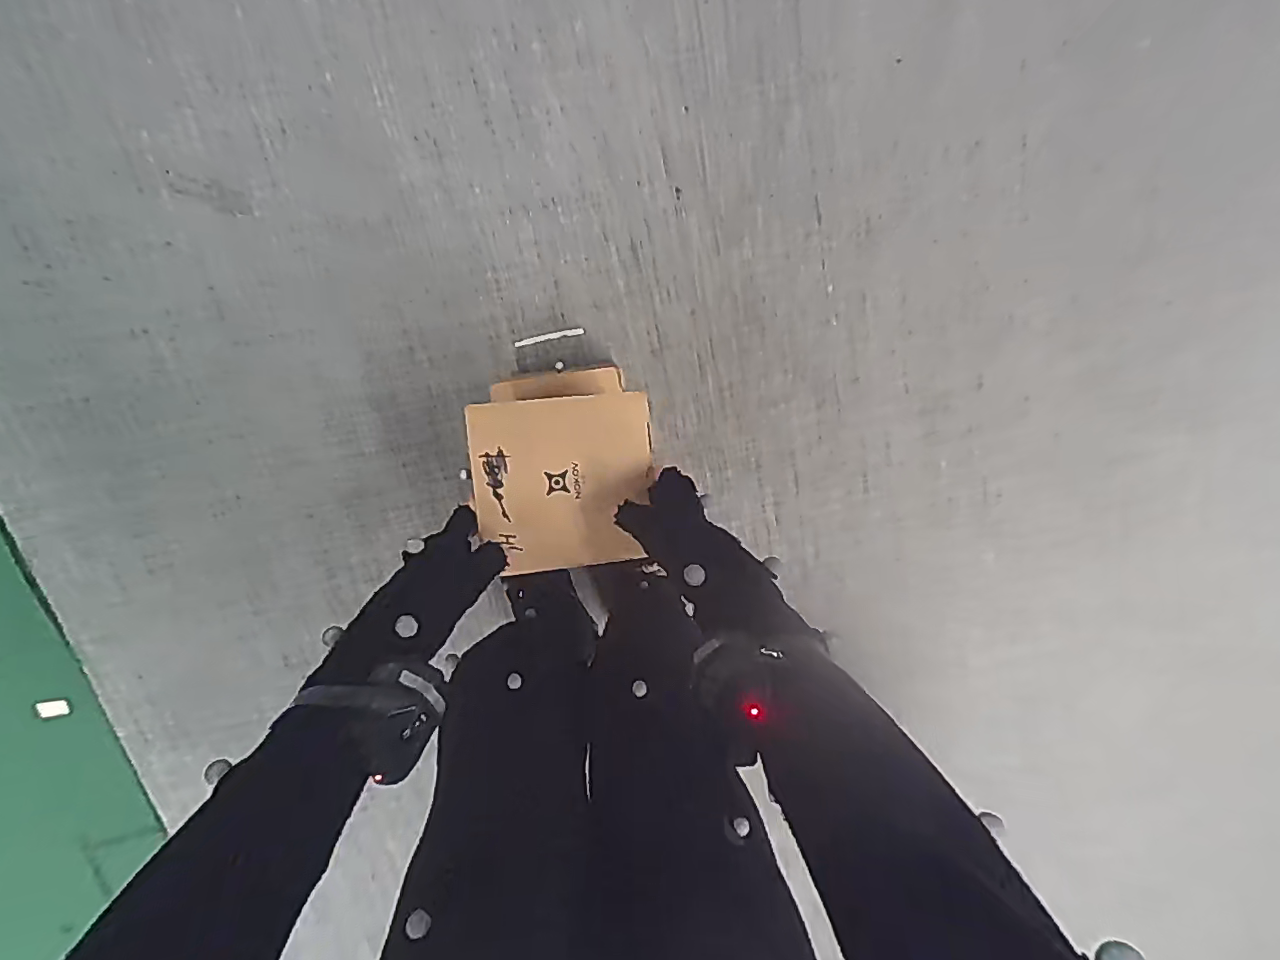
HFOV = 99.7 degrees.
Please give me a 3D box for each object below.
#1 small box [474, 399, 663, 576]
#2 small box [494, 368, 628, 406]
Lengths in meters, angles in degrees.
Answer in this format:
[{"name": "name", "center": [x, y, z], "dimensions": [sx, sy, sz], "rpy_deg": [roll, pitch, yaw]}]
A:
[{"name": "small box", "center": [-0.082, 0.003, 0.606], "dimensions": [0.179, 0.176, 0.168], "rpy_deg": [-5, 91, -10]}, {"name": "small box", "center": [-0.104, -0.073, 0.809], "dimensions": [0.179, 0.176, 0.168], "rpy_deg": [-9, 104, -2]}]
